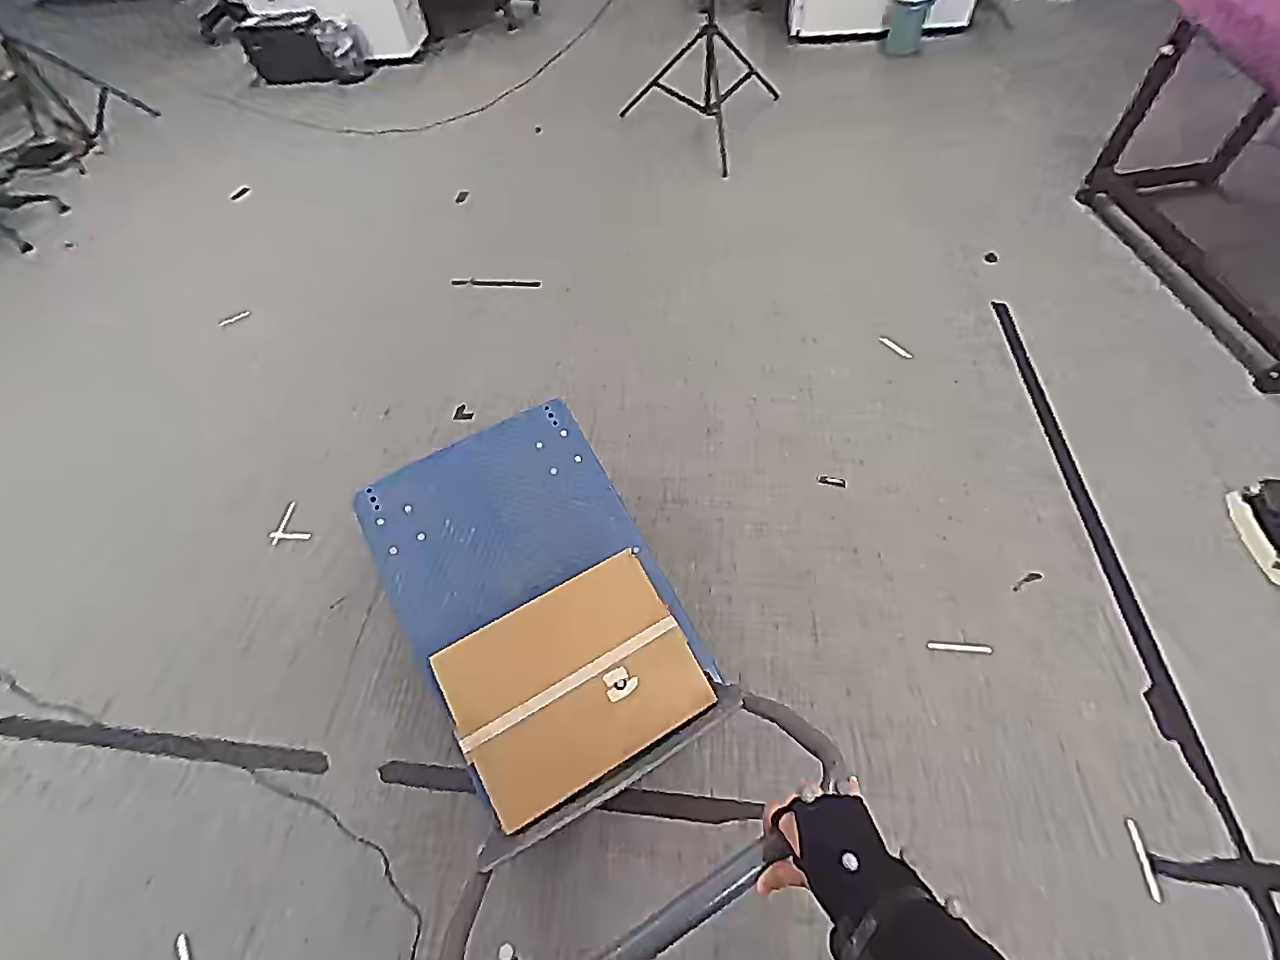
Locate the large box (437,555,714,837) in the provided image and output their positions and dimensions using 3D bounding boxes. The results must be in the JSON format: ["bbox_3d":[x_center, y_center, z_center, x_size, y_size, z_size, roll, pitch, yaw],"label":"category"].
[{"bbox_3d":[-0.124,0.410,1.089,0.408,0.320,0.320,-28,76,-14],"label":"large box"}]
